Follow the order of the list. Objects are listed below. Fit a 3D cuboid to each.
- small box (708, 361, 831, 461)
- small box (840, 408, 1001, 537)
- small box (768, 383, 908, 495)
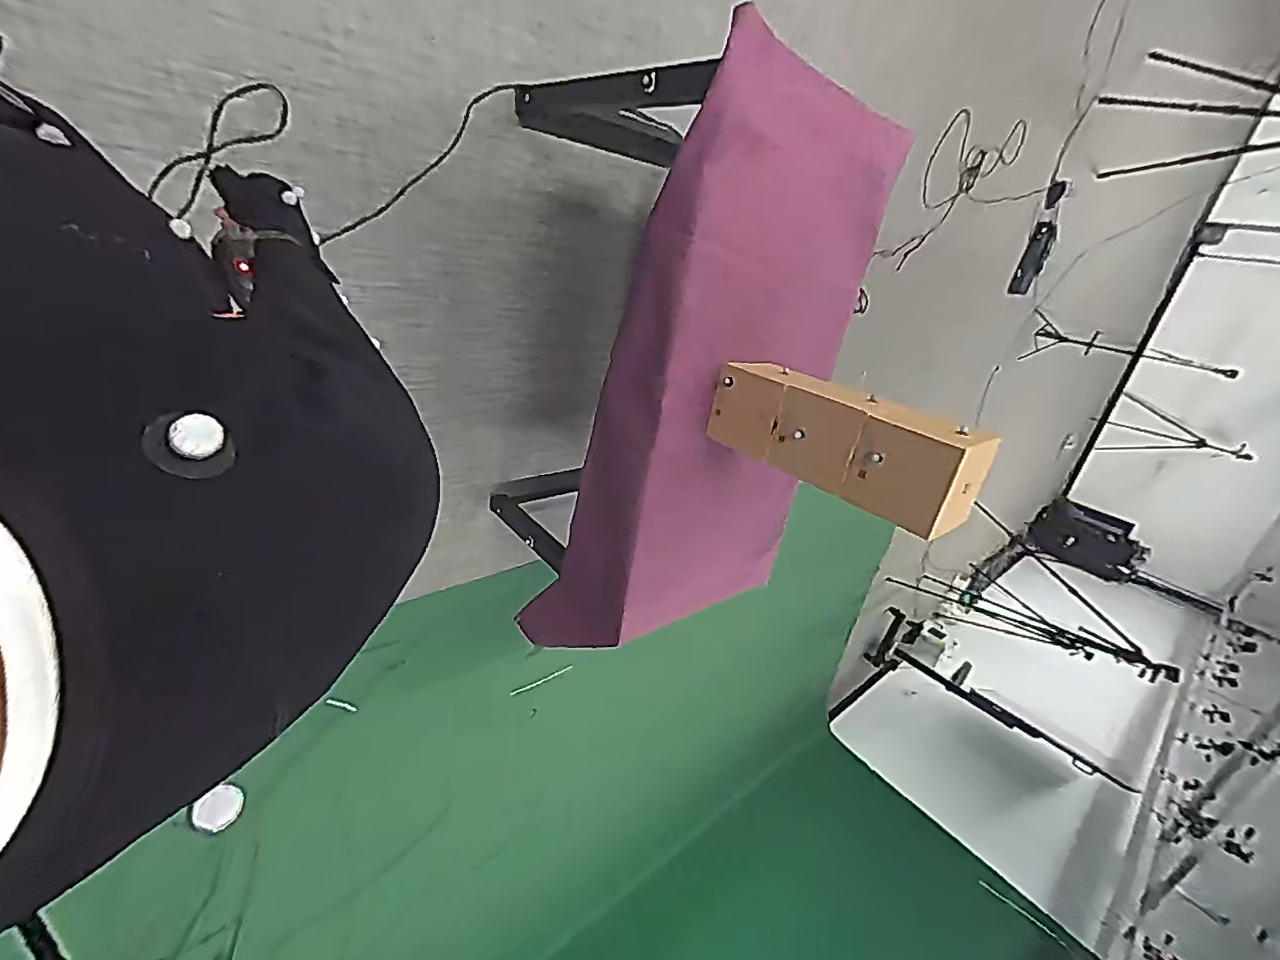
[{"bbox_3d":[0.273,-0.154,1.165,0.179,0.176,0.168,-10,121,-41],"label":"small box"},{"bbox_3d":[0.490,-0.024,0.957,0.179,0.176,0.168,-10,120,-40],"label":"small box"},{"bbox_3d":[0.383,-0.090,1.061,0.179,0.176,0.168,-10,120,-40],"label":"small box"}]
